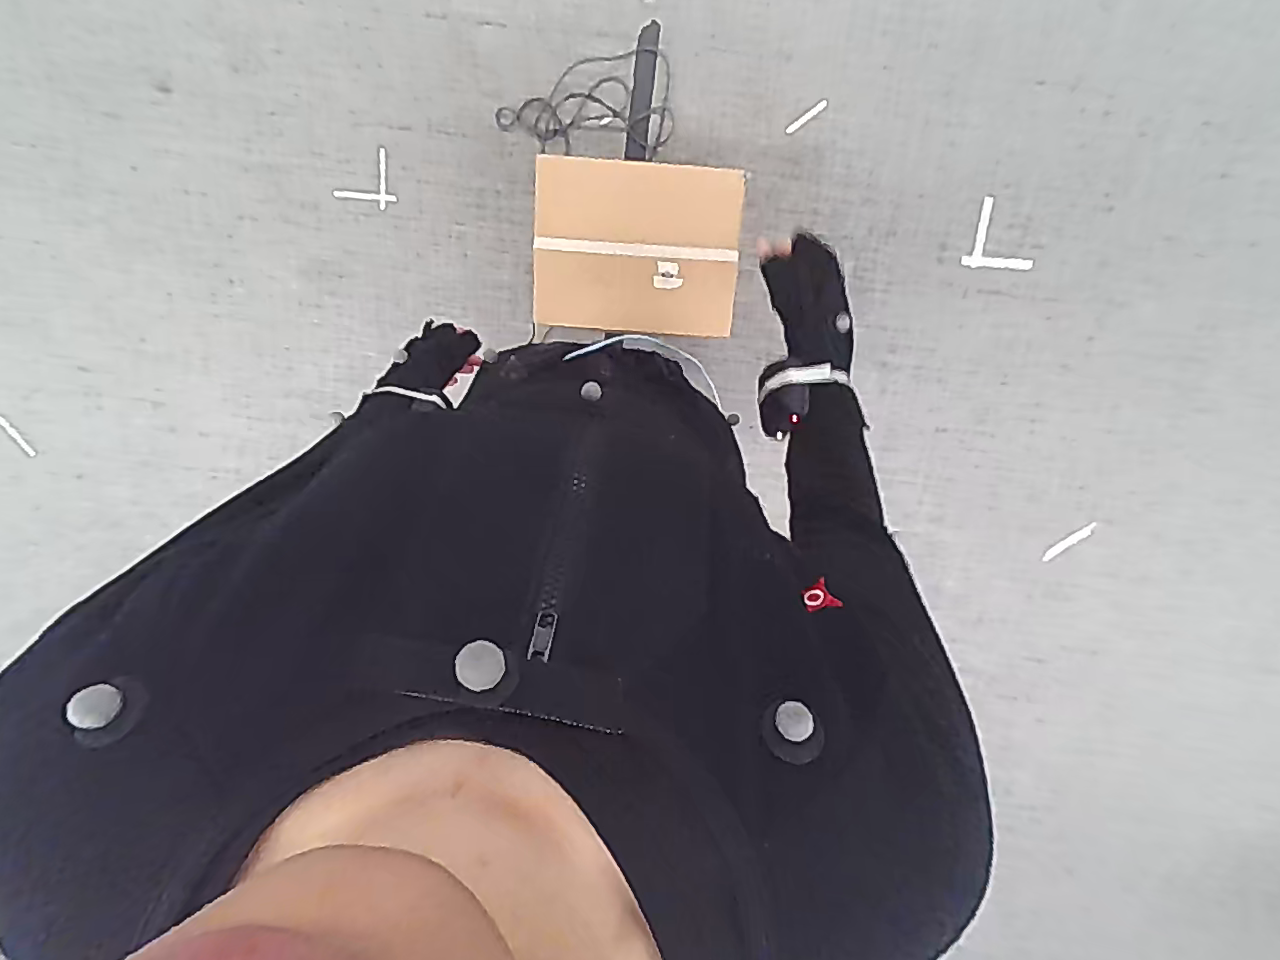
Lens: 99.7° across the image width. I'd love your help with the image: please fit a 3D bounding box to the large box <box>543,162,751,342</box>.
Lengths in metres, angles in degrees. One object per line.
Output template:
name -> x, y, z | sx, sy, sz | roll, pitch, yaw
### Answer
large box -> 0.005, -0.485, 1.223 | 0.408, 0.320, 0.320 | 5, 104, -2
